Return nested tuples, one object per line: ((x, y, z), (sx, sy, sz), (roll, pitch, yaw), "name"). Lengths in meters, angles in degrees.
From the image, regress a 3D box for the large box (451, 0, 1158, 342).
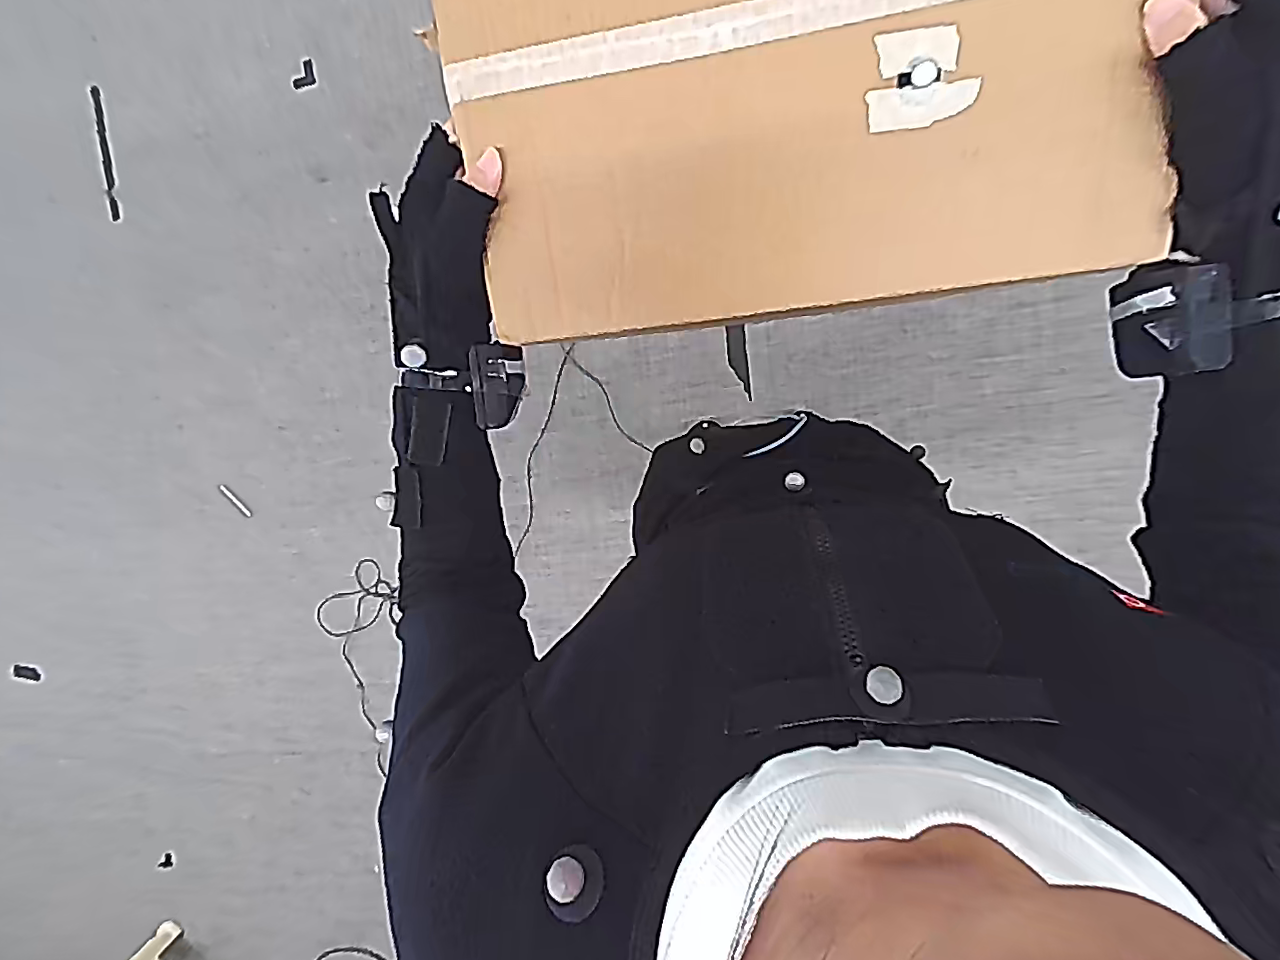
((0.099, -0.303, 0.461), (0.408, 0.320, 0.320), (-6, 105, 8), "large box")
